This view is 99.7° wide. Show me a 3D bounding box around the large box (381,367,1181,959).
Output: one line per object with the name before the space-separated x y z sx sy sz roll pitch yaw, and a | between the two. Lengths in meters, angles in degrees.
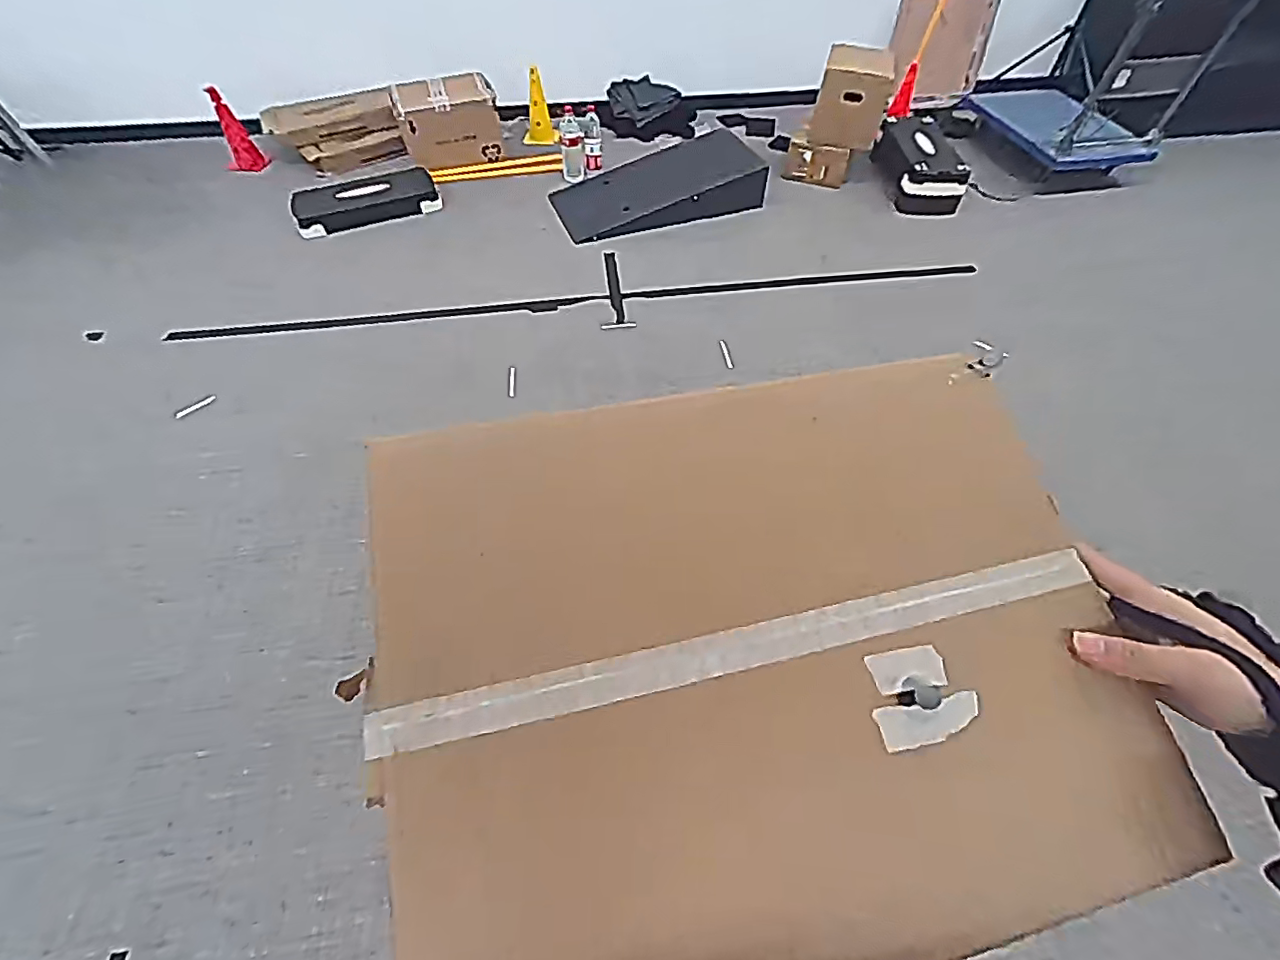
large box | 0.054 0.147 0.444 0.408 0.320 0.320 -10 71 -11
